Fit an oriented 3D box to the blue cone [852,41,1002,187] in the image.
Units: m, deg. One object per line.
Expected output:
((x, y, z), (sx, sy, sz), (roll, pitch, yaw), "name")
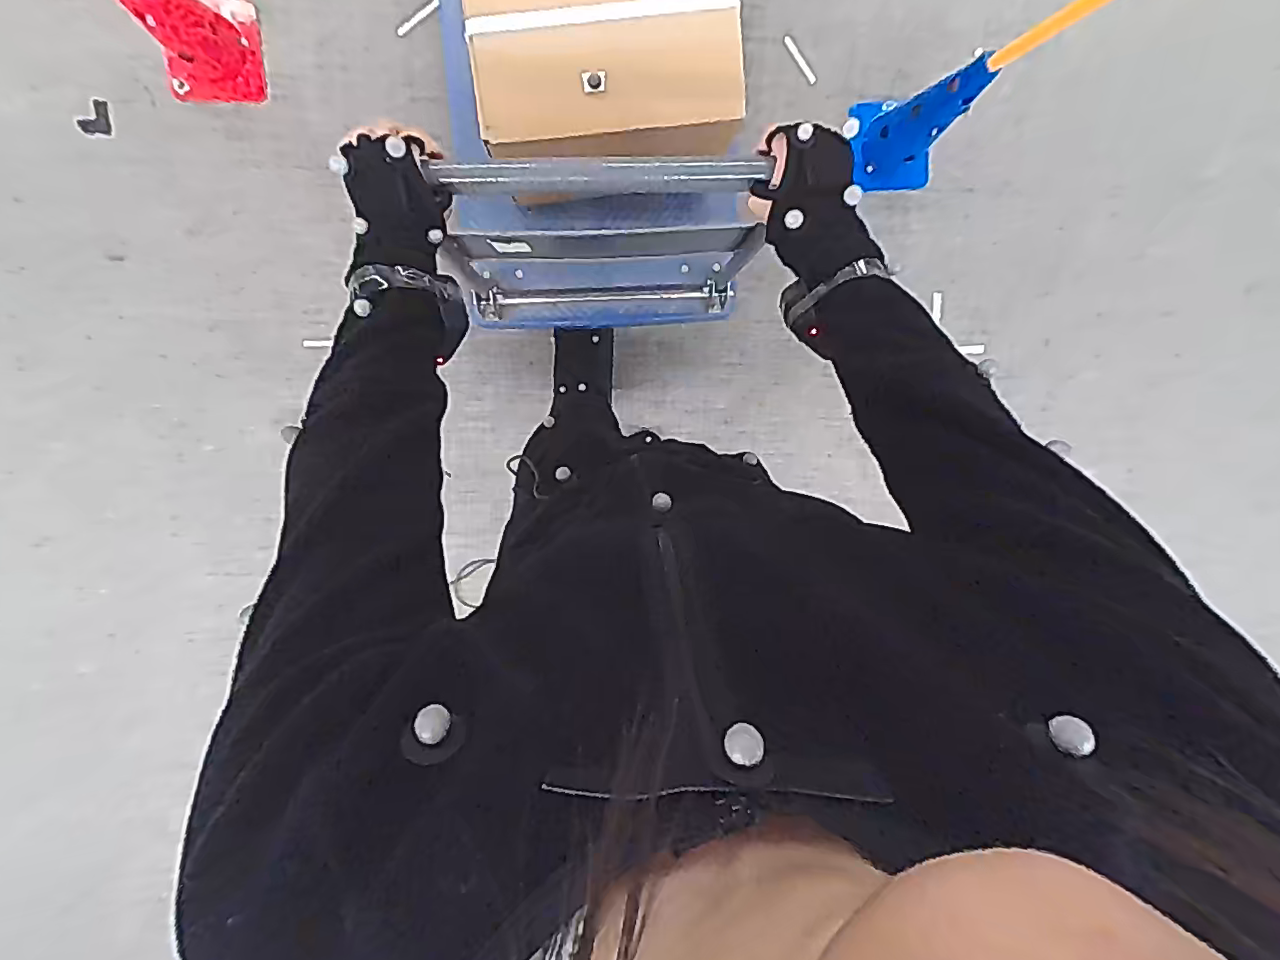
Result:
((0.623, -0.791, 1.156), (0.193, 0.380, 0.192), (-4, 100, -4), "blue cone")
